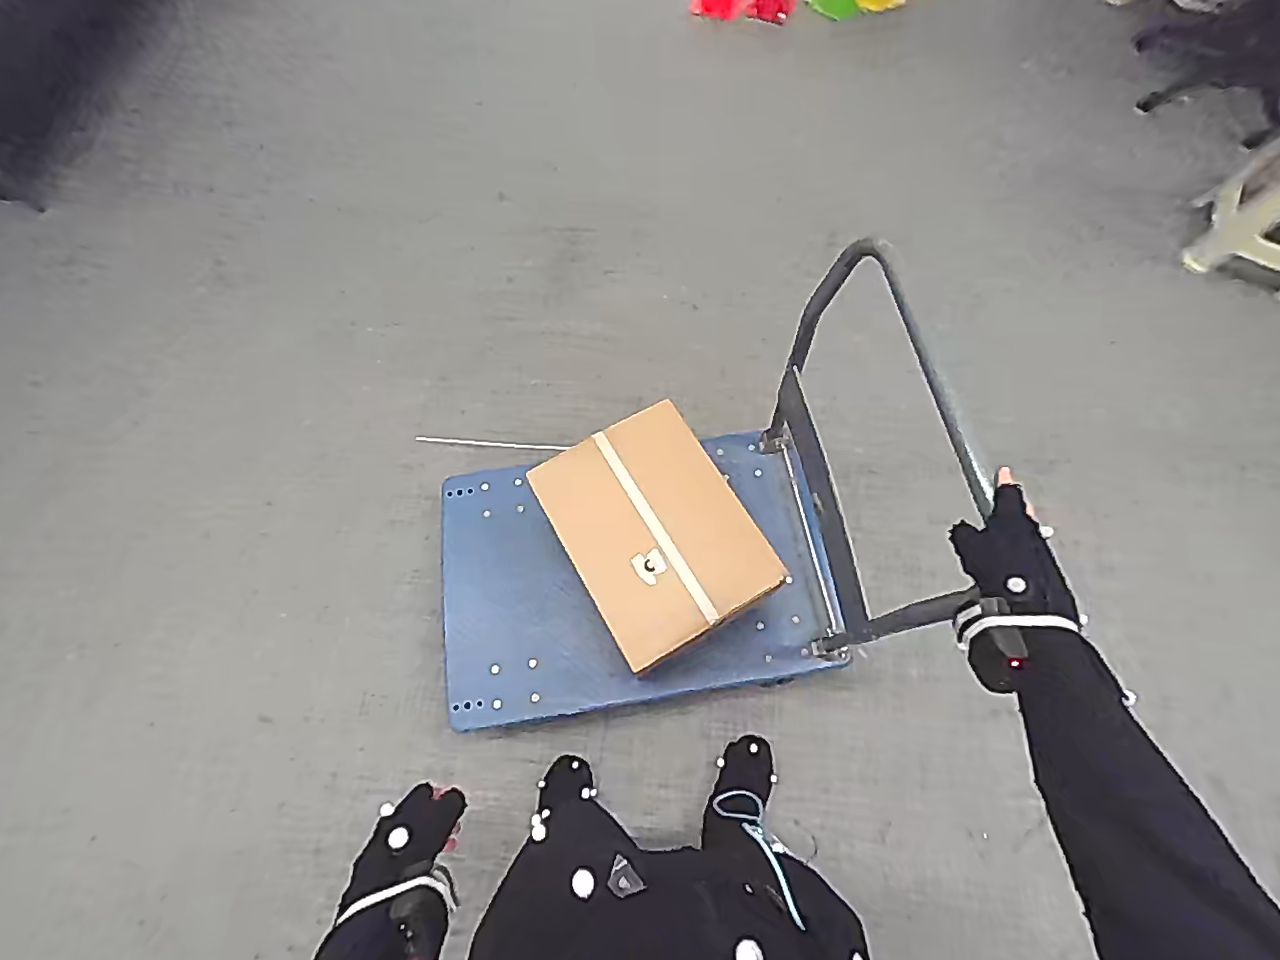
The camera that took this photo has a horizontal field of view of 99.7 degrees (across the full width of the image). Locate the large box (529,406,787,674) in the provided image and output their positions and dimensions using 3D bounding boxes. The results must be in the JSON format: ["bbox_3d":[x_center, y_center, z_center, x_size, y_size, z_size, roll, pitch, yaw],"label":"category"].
[{"bbox_3d":[0.023,0.134,1.108,0.320,0.320,0.408,-30,72,-10],"label":"large box"}]
